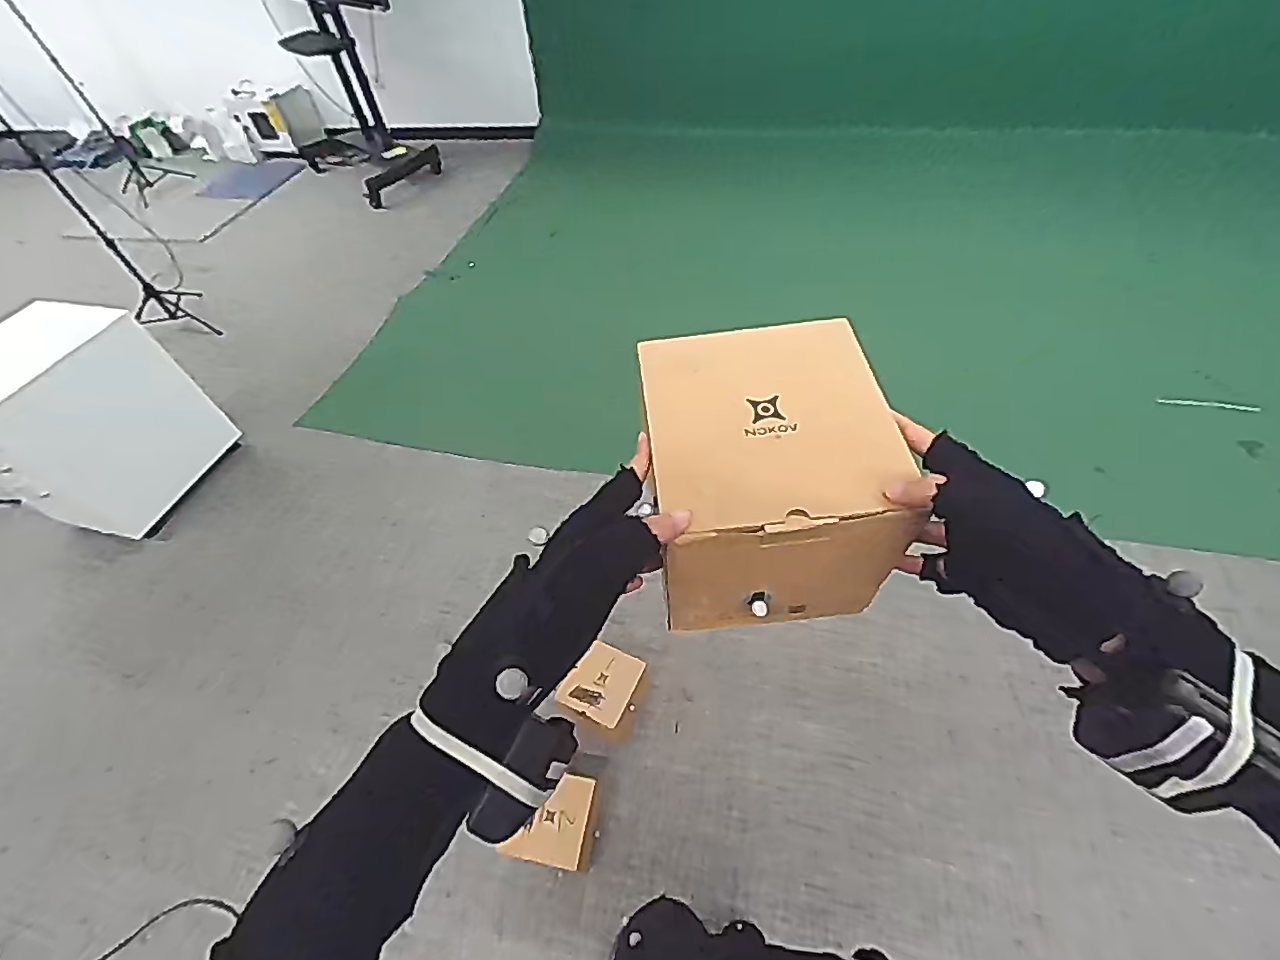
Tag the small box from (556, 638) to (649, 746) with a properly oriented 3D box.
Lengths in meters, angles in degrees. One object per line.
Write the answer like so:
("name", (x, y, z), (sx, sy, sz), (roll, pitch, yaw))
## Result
("small box", (-0.084, 0.536, 1.360), (0.168, 0.176, 0.179), (19, 53, 20))
